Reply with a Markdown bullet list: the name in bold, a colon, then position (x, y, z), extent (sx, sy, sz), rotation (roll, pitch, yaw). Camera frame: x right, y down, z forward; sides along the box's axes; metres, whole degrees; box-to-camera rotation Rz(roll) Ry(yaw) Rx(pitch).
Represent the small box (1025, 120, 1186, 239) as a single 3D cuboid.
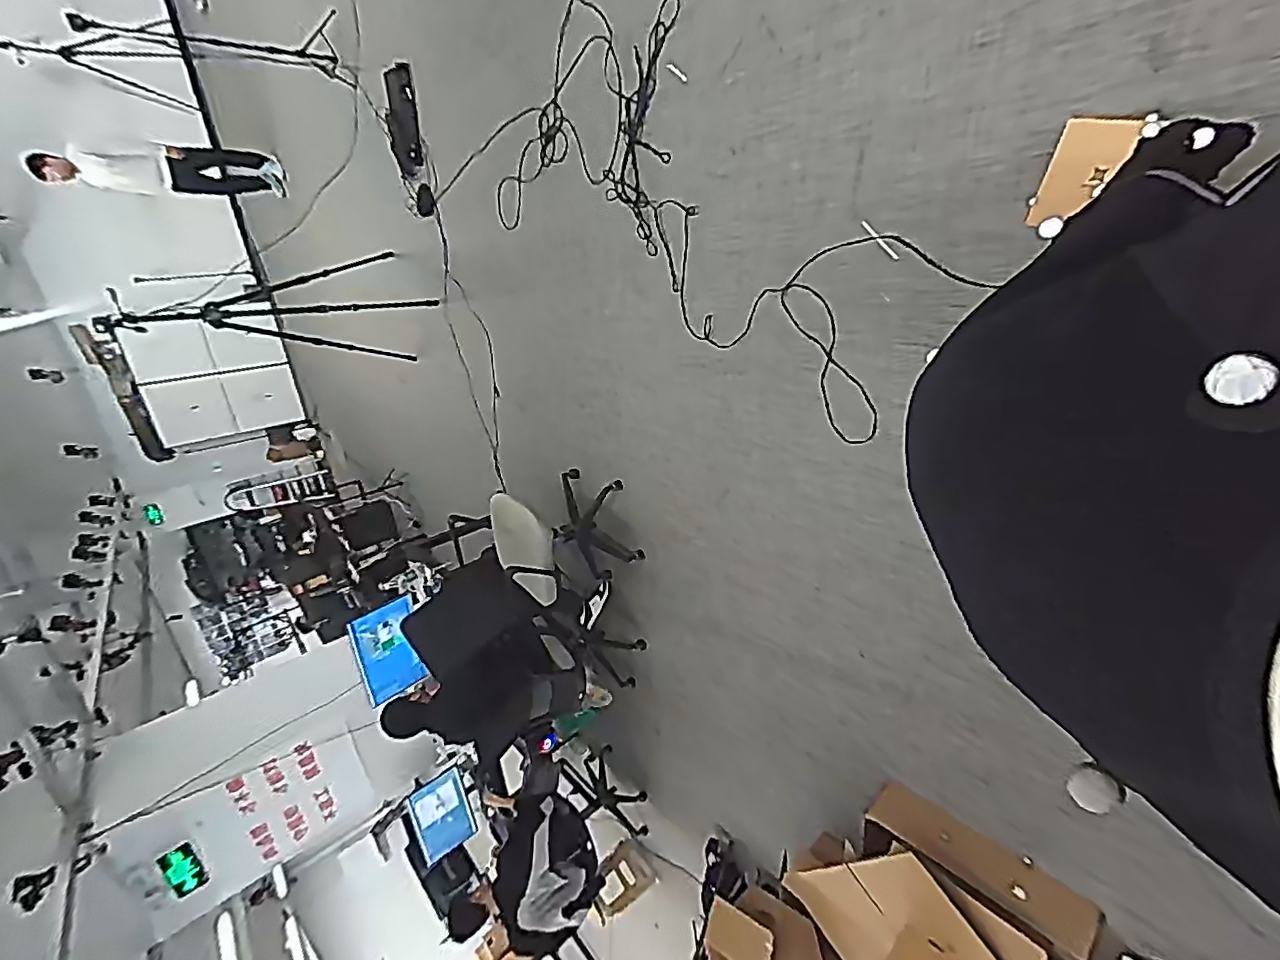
- **small box**: position (0.873, -0.562, 1.015), extent (0.168, 0.176, 0.179), rotation (33, 132, 38)
